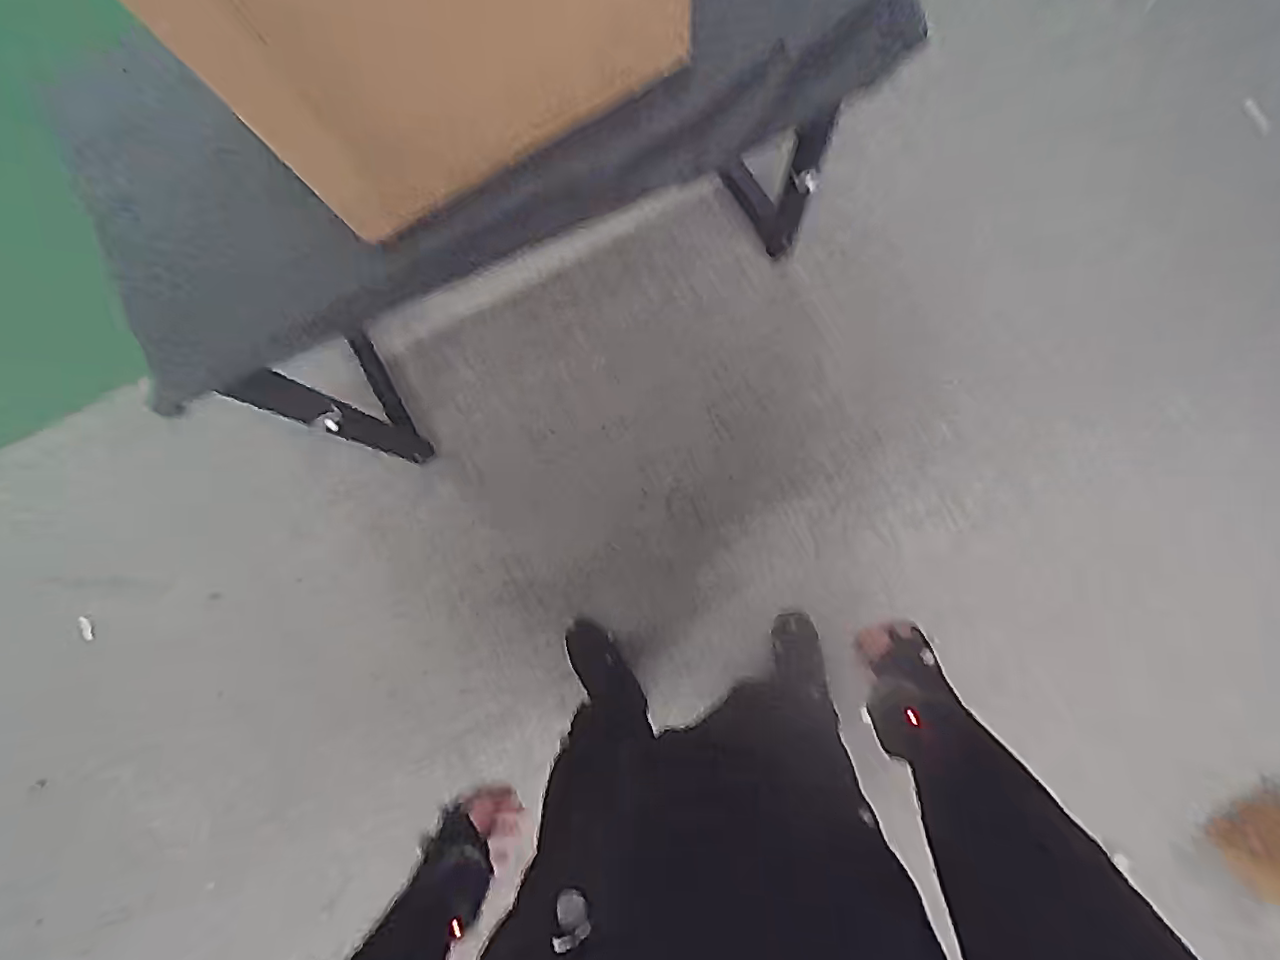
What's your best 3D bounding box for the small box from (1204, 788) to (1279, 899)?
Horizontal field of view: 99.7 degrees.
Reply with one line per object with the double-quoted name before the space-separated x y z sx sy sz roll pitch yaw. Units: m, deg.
"small box" 1.381 0.789 1.140 0.168 0.176 0.179 -42 83 -1
